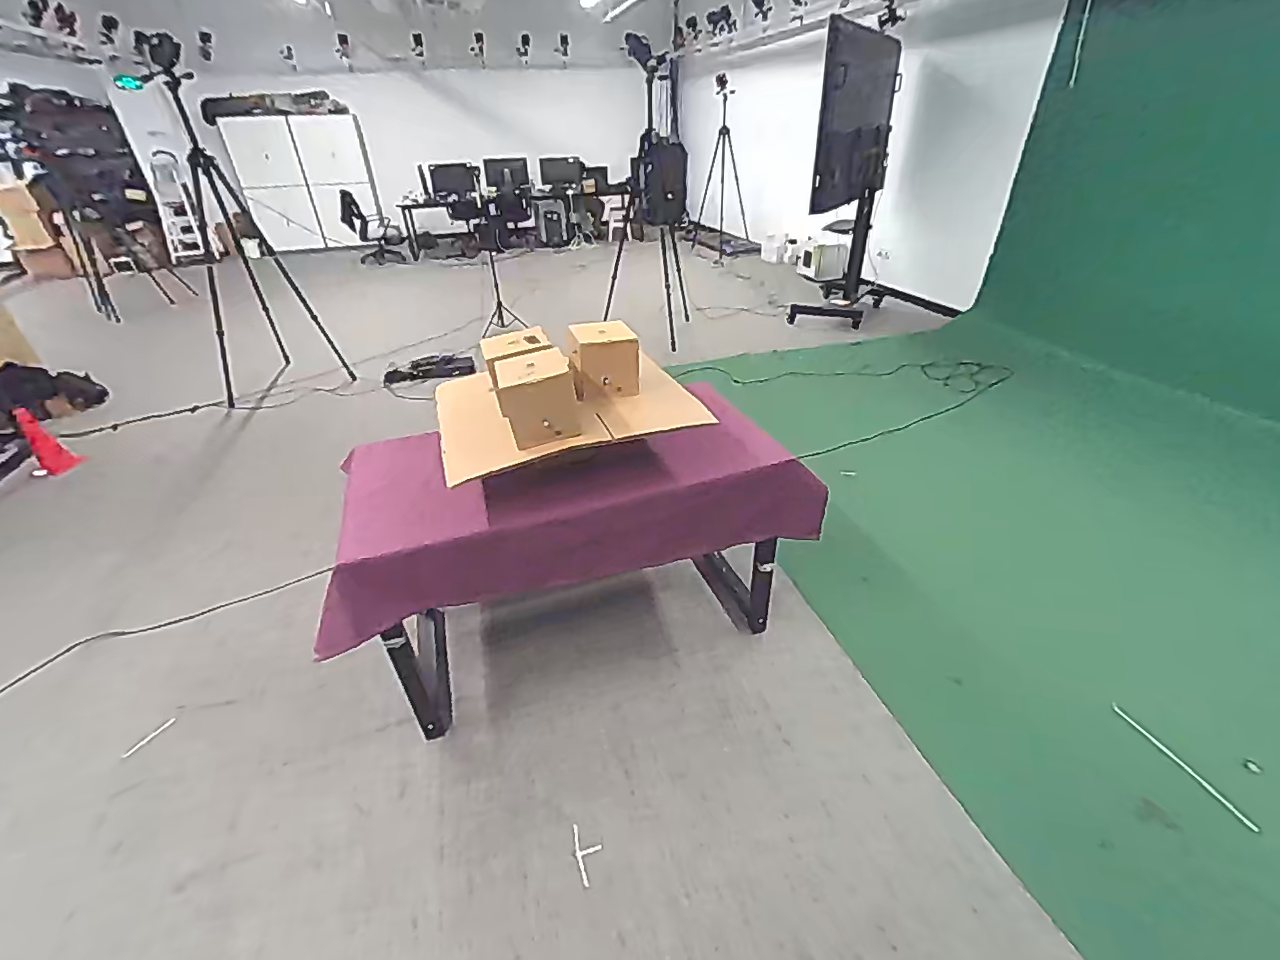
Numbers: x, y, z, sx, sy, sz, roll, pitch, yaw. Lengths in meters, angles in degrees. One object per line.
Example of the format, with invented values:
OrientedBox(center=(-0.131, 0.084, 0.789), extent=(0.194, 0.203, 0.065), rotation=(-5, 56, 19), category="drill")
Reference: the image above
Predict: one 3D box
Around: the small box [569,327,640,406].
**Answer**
OrientedBox(center=(-0.105, -0.328, 1.552), extent=(0.168, 0.176, 0.179), rotation=(-10, 34, -15), category="small box")
